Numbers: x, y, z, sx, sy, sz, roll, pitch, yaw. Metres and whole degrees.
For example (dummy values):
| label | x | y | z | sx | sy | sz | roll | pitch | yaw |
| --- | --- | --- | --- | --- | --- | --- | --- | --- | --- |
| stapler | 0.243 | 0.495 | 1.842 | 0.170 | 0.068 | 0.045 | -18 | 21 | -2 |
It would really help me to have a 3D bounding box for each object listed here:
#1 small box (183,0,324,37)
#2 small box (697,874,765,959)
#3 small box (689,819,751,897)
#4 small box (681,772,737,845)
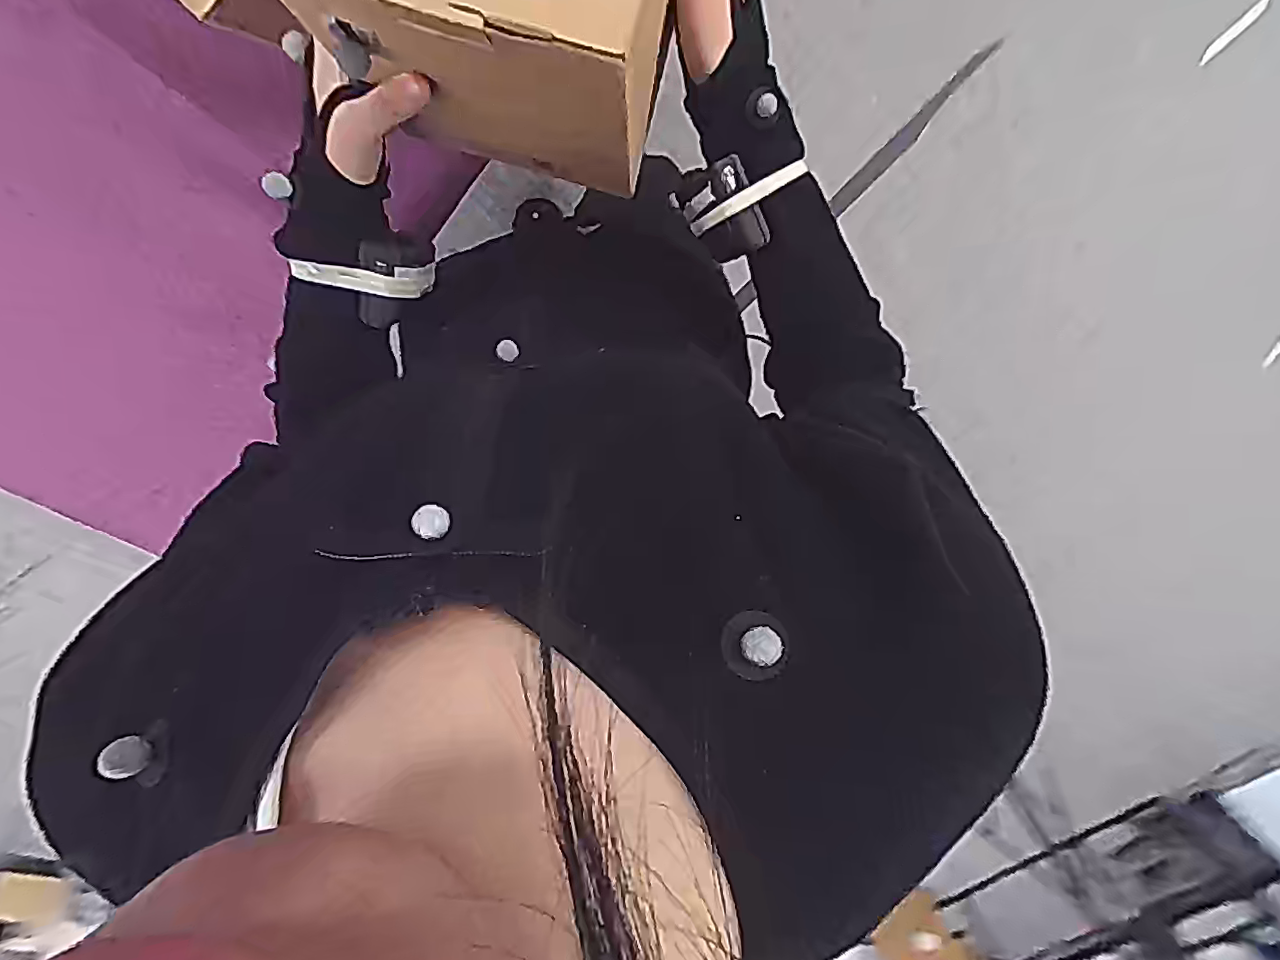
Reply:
| label | x | y | z | sx | sy | sz | roll | pitch | yaw |
| --- | --- | --- | --- | --- | --- | --- | --- | --- | --- |
| small box | -0.305 | -0.461 | 0.376 | 0.179 | 0.176 | 0.168 | -43 | 119 | 17 |
| small box | 0.282 | 1.384 | 1.718 | 0.168 | 0.176 | 0.179 | -2 | 122 | -7 |
| small box | 0.267 | 1.300 | 1.858 | 0.168 | 0.176 | 0.179 | -2 | 122 | -7 |
| small box | 0.249 | 1.211 | 1.995 | 0.168 | 0.176 | 0.179 | -2 | 121 | -7 |
